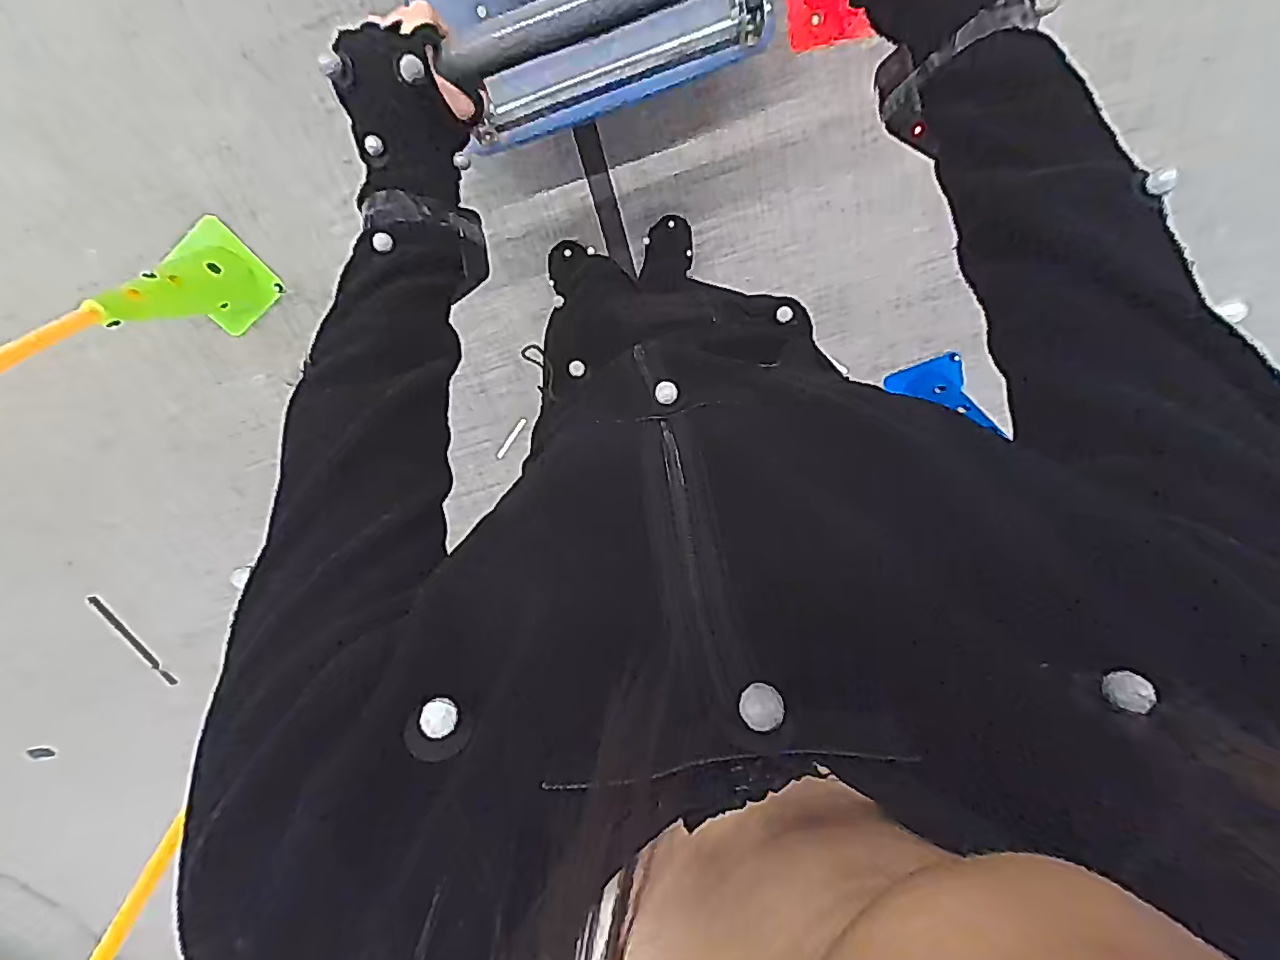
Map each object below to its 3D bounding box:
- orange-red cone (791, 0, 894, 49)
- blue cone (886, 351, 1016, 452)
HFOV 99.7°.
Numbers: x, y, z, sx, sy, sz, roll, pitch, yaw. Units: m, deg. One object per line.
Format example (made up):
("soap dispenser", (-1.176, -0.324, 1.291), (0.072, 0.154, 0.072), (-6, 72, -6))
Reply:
("orange-red cone", (0.393, -0.866, 0.872), (0.199, 0.360, 0.198), (-10, 119, 2))
("blue cone", (0.769, -0.154, 1.298), (0.193, 0.380, 0.192), (-19, 117, 8))
